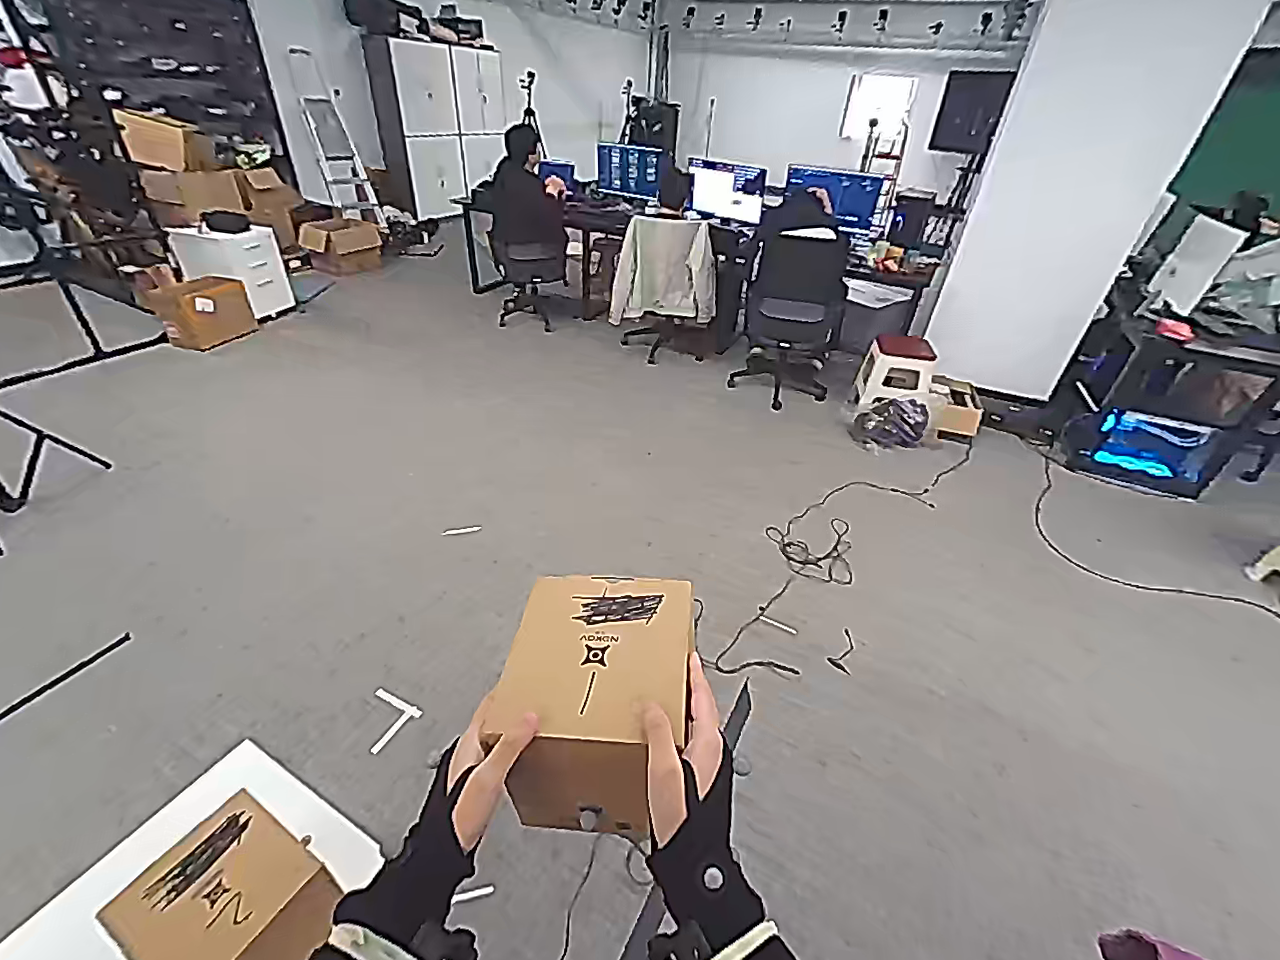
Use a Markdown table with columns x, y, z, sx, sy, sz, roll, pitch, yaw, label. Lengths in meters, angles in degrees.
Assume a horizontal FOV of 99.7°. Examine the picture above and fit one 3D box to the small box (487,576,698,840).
| x | y | z | sx | sy | sz | roll | pitch | yaw | label |
| --- | --- | --- | --- | --- | --- | --- | --- | --- | --- |
| -0.028 | 0.217 | 0.535 | 0.168 | 0.176 | 0.179 | 0 | 36 | 8 | small box |
